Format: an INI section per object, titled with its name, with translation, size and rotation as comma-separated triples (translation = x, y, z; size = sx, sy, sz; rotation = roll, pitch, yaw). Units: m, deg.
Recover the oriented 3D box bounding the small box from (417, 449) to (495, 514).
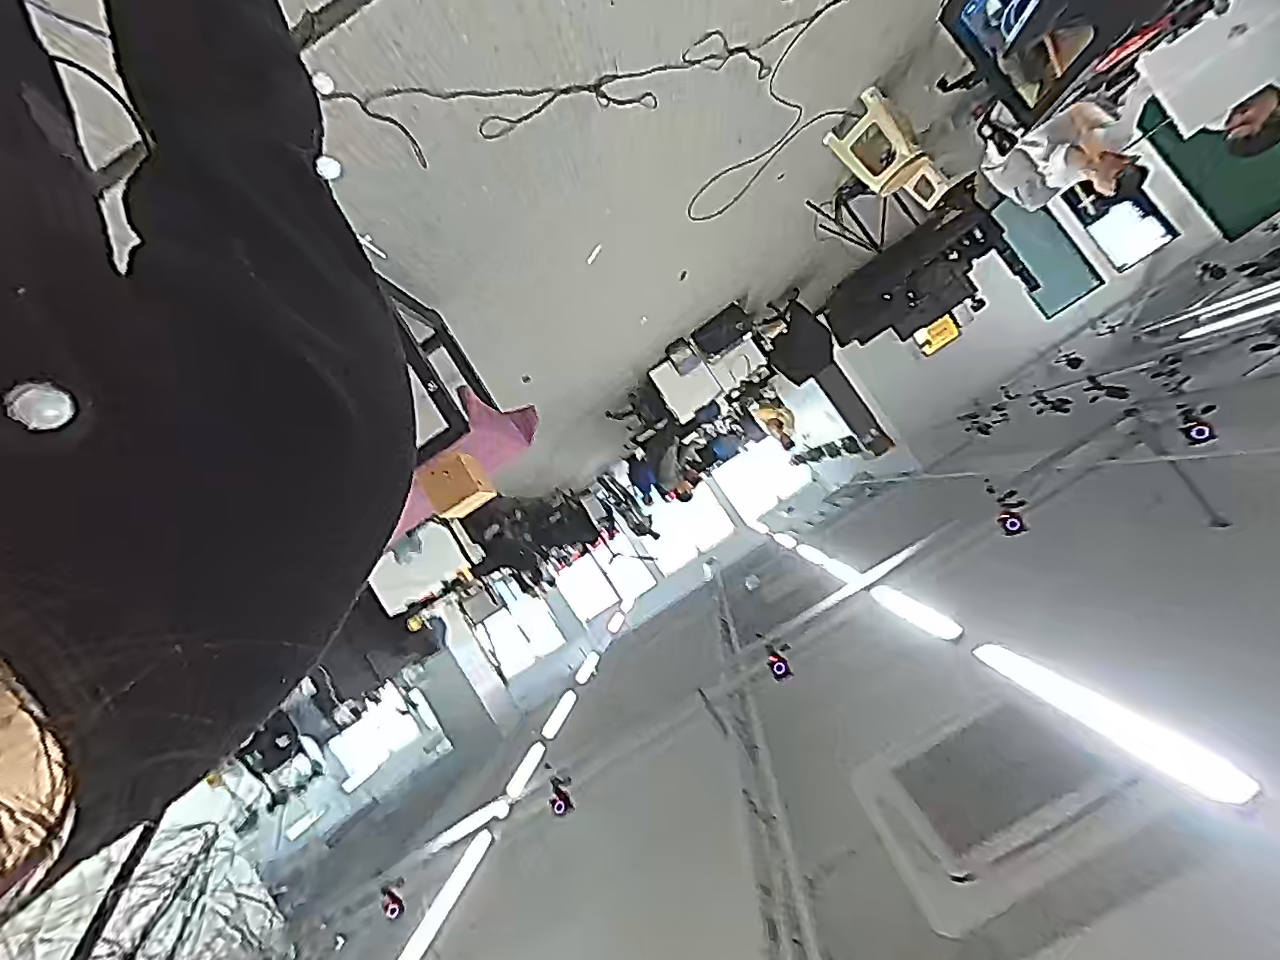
[small box]
translation = -0.647, 0.007, 1.910
size = 0.168, 0.176, 0.179
rotation = -33, 175, 1
